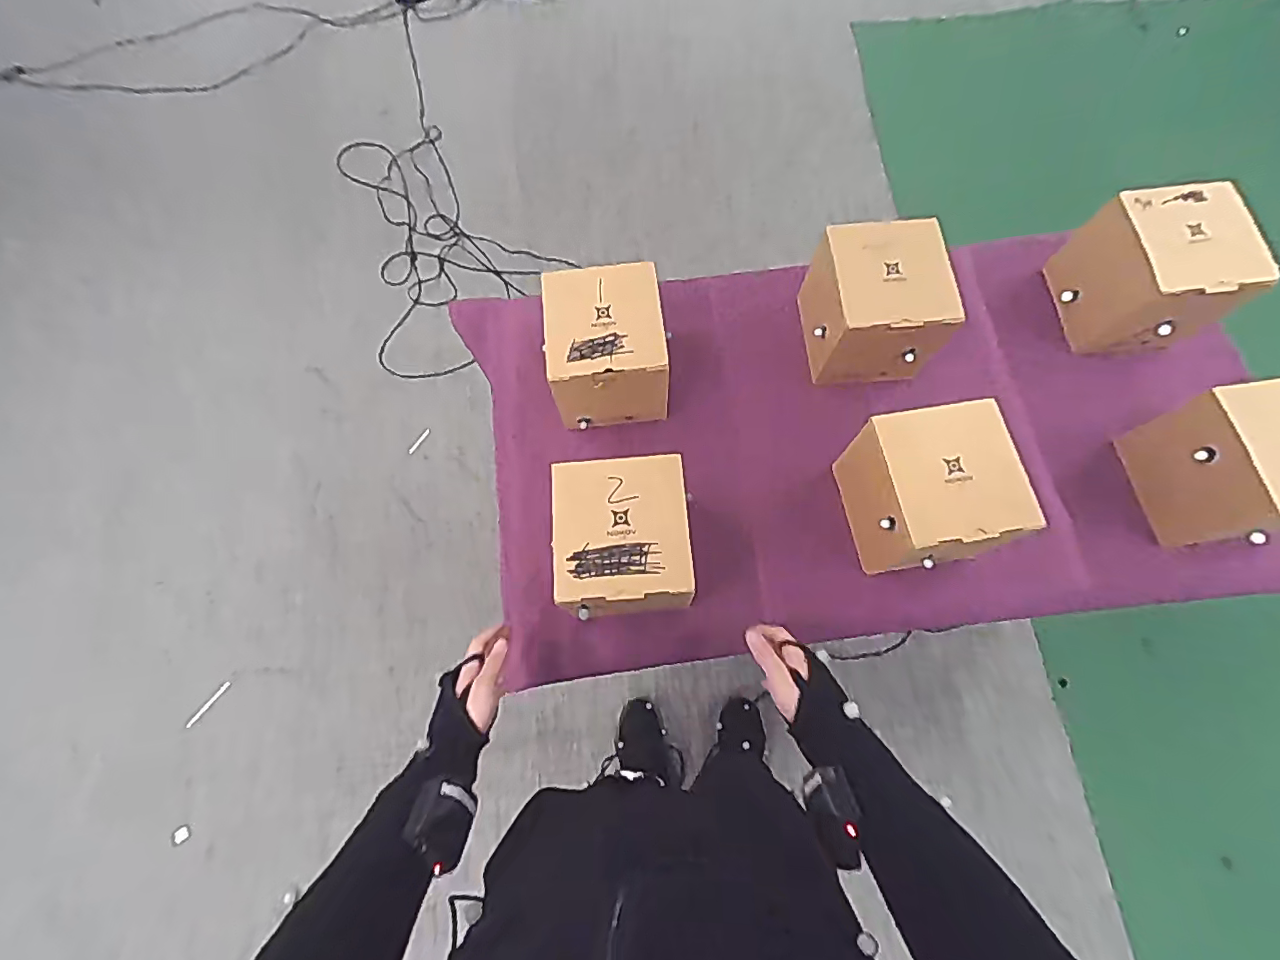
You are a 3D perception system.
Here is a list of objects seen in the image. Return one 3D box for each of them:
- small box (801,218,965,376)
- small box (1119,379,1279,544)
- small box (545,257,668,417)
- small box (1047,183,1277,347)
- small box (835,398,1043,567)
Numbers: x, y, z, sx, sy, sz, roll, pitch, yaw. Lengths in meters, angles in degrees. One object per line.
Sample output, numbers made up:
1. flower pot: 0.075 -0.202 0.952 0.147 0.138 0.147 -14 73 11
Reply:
1. small box: 0.360 -0.271 0.836 0.168 0.176 0.179 -3 72 0
2. small box: 0.819 -0.021 0.737 0.168 0.176 0.179 -7 71 1
3. small box: -0.046 -0.205 0.823 0.168 0.176 0.179 -6 71 -1
4. small box: 0.784 -0.319 0.837 0.168 0.176 0.179 -5 74 0
5. small box: 0.389 0.010 0.743 0.168 0.176 0.179 -8 72 -2
